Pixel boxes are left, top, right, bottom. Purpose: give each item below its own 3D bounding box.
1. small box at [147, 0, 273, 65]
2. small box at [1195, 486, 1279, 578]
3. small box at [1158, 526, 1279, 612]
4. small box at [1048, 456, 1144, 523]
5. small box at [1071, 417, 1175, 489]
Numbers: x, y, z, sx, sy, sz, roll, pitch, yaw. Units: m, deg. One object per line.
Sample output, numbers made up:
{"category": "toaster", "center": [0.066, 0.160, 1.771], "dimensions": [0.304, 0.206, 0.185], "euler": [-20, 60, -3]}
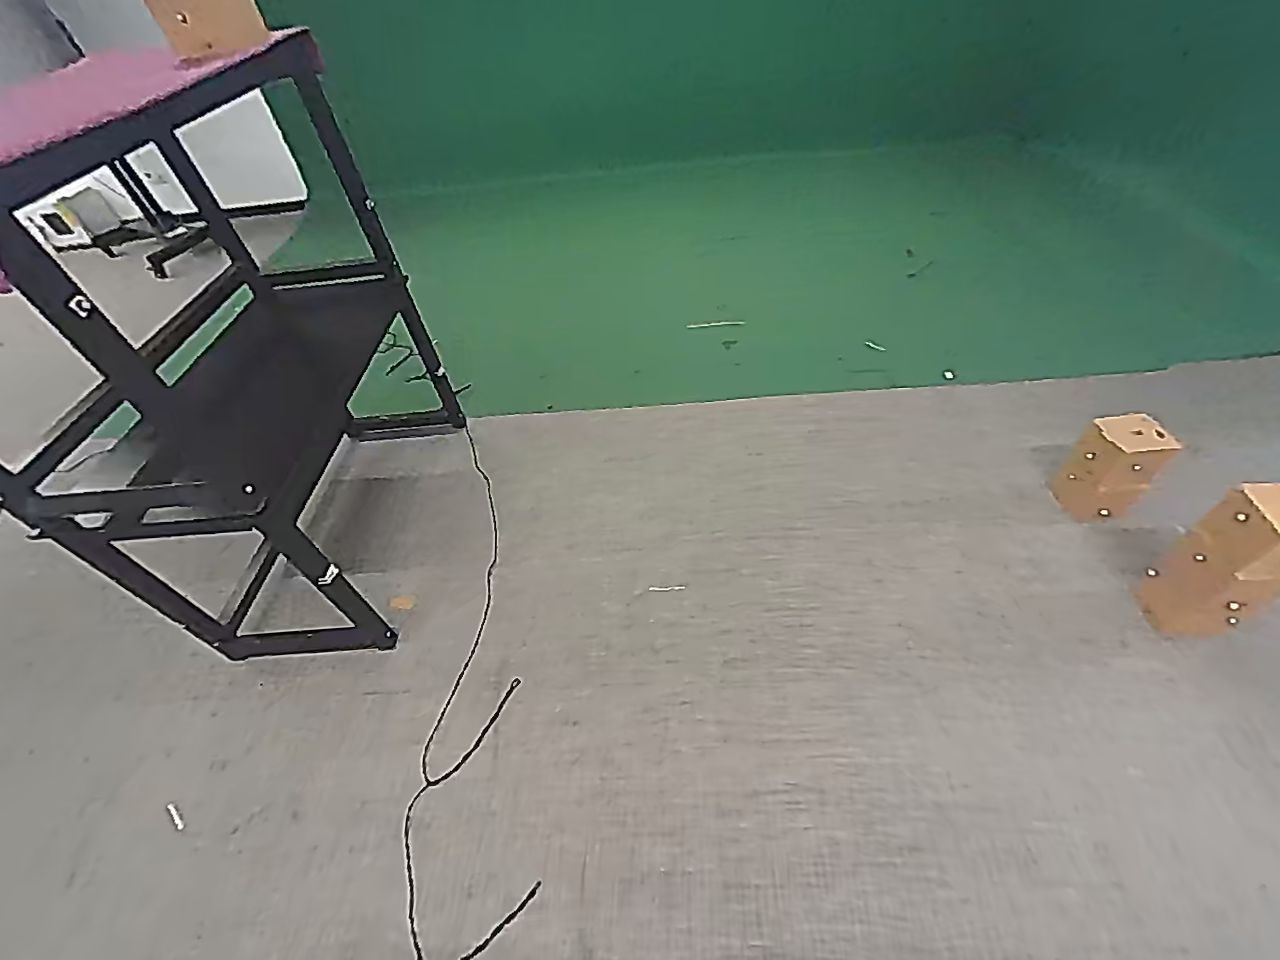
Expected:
{"category": "small box", "center": [-1.081, -1.169, 1.368], "dimensions": [0.168, 0.176, 0.179], "euler": [0, 48, 6]}
{"category": "small box", "center": [1.581, 0.134, 1.359], "dimensions": [0.168, 0.176, 0.179], "euler": [0, 47, 9]}
{"category": "small box", "center": [1.594, 0.242, 1.479], "dimensions": [0.168, 0.176, 0.179], "euler": [-3, 48, 5]}
{"category": "small box", "center": [1.593, 0.030, 1.905], "dimensions": [0.168, 0.176, 0.179], "euler": [-4, 47, 4]}
{"category": "small box", "center": [1.579, -0.084, 1.789], "dimensions": [0.179, 0.176, 0.168], "euler": [-7, 47, 2]}
